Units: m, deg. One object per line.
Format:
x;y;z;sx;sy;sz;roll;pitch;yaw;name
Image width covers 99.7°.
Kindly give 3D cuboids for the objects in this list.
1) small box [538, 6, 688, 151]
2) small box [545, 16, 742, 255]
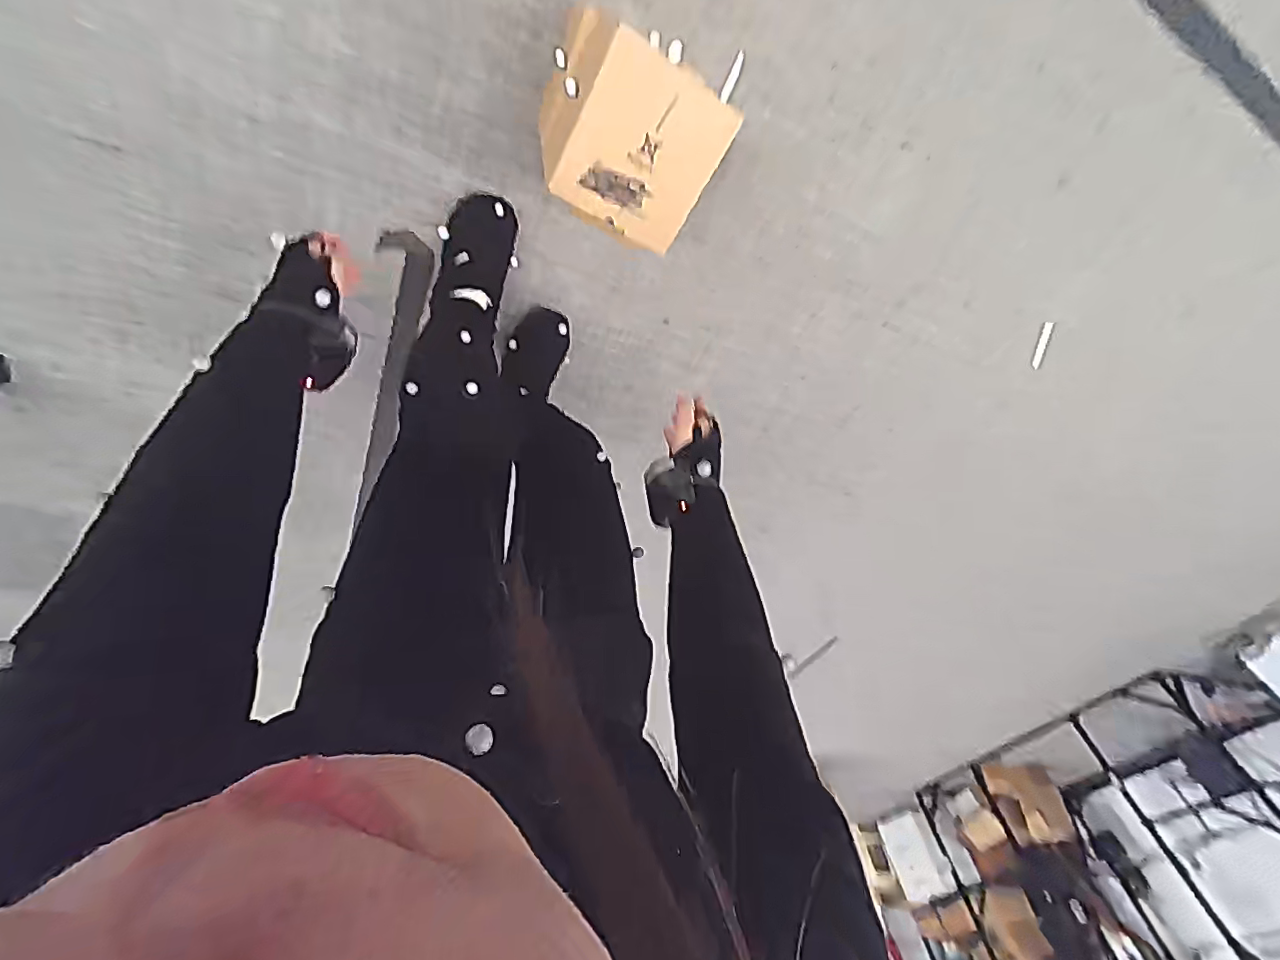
-0.036;-0.541;0.779;0.179;0.176;0.168;14;129;-26;small box
-0.008;-0.422;0.667;0.168;0.176;0.179;19;126;-28;small box
